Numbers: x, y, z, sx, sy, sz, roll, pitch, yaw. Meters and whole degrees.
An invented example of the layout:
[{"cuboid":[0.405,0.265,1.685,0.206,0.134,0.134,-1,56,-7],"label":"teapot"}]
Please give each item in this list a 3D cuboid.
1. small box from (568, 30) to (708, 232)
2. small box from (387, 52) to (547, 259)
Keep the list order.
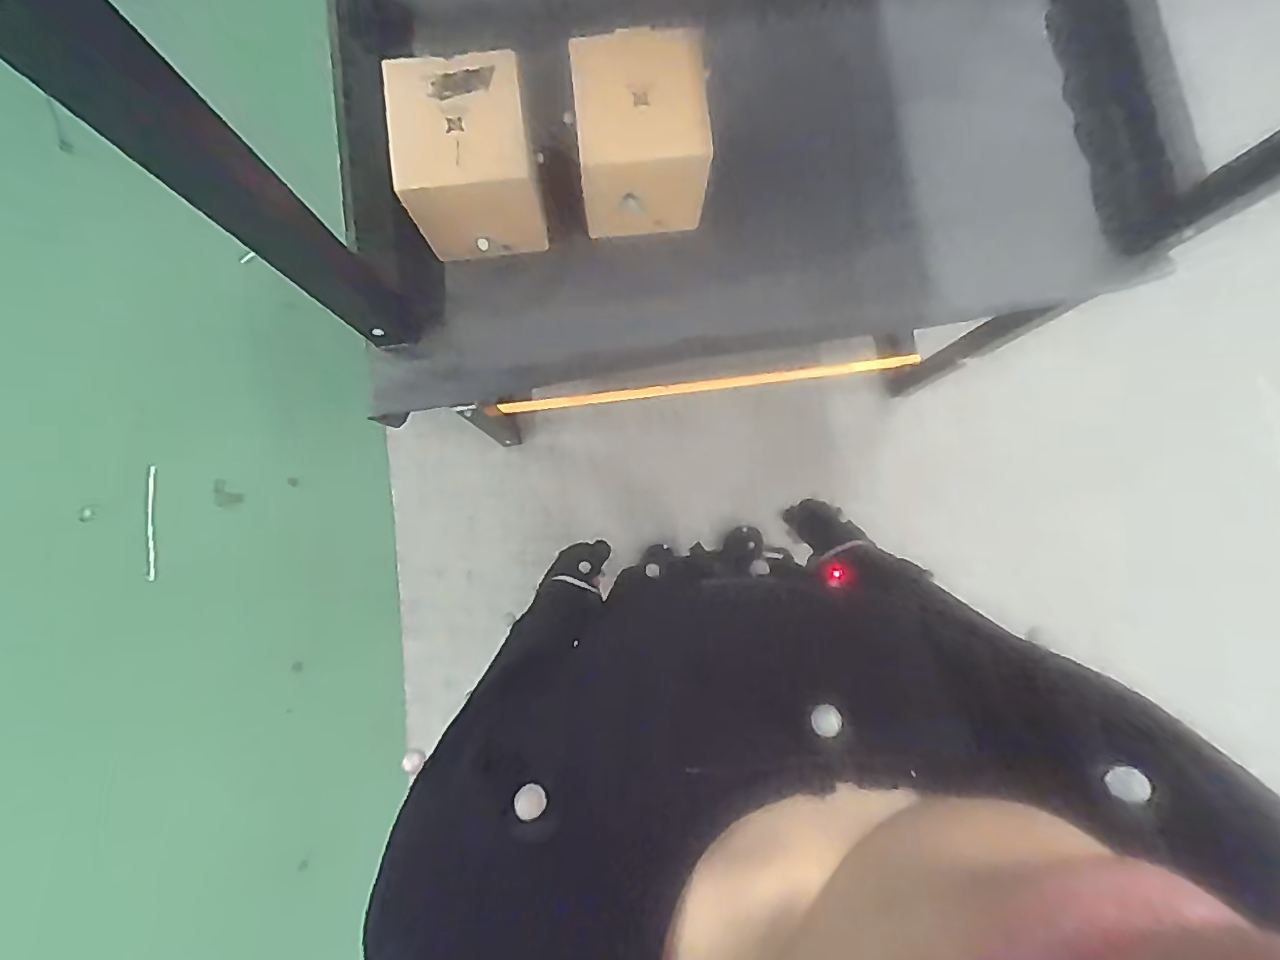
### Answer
[{"cuboid":[-0.003,-0.469,0.755,0.168,0.176,0.179,-6,83,-2],"label":"small box"},{"cuboid":[-0.228,-0.434,0.744,0.168,0.176,0.179,-7,84,-2],"label":"small box"}]
